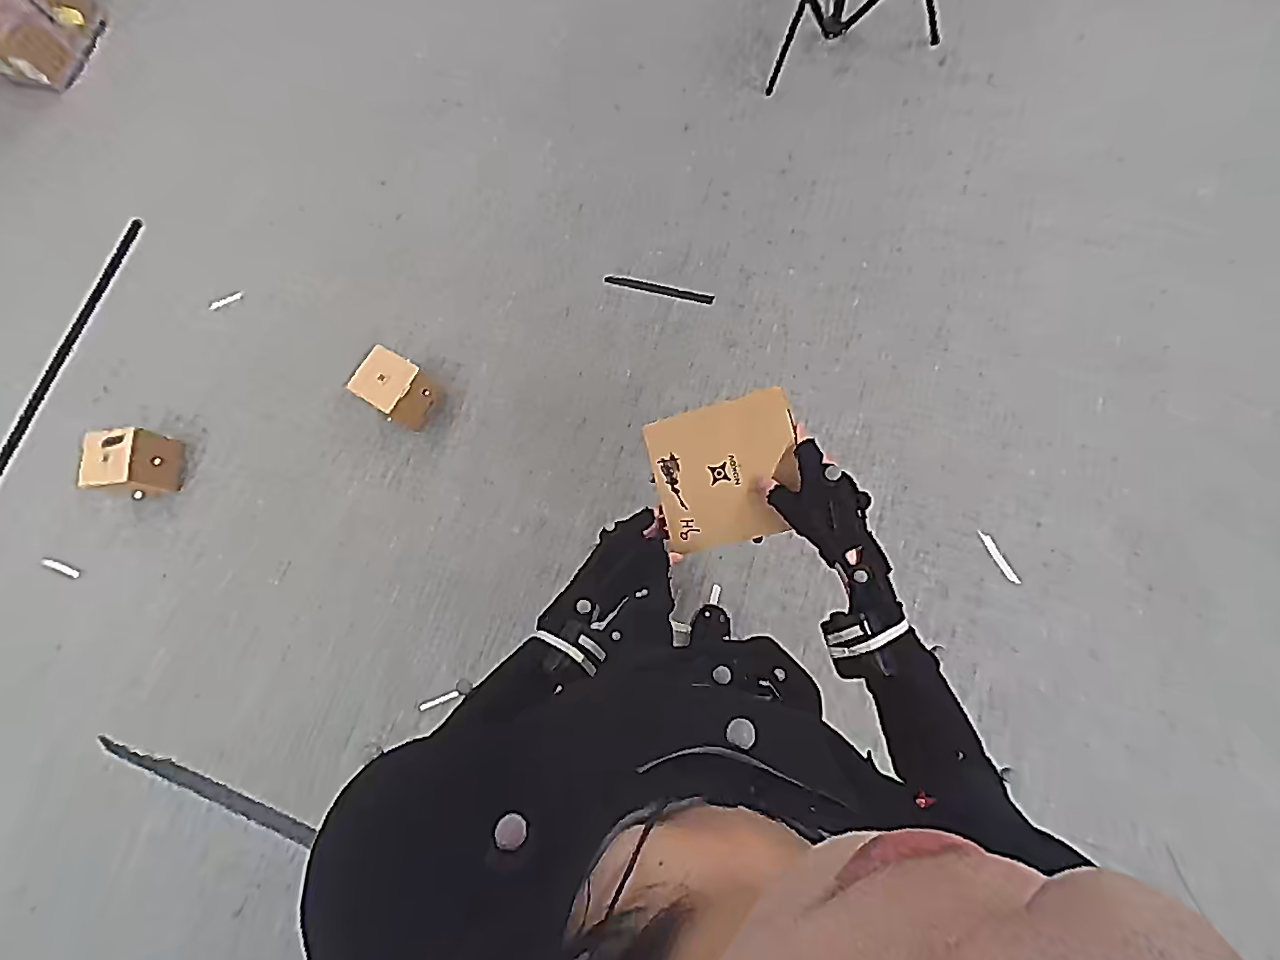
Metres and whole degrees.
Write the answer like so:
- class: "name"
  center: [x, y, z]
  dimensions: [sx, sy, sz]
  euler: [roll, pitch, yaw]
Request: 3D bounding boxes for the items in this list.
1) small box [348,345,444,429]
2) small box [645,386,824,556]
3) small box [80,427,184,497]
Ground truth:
- class: "small box"
  center: [-0.742, -0.277, 1.665]
  dimensions: [0.179, 0.176, 0.168]
  euler: [29, 80, 13]
- class: "small box"
  center: [0.125, -0.009, 0.697]
  dimensions: [0.179, 0.176, 0.168]
  euler: [-15, 85, 16]
- class: "small box"
  center: [-1.585, -0.053, 1.698]
  dimensions: [0.168, 0.176, 0.179]
  euler: [-6, 77, 5]
